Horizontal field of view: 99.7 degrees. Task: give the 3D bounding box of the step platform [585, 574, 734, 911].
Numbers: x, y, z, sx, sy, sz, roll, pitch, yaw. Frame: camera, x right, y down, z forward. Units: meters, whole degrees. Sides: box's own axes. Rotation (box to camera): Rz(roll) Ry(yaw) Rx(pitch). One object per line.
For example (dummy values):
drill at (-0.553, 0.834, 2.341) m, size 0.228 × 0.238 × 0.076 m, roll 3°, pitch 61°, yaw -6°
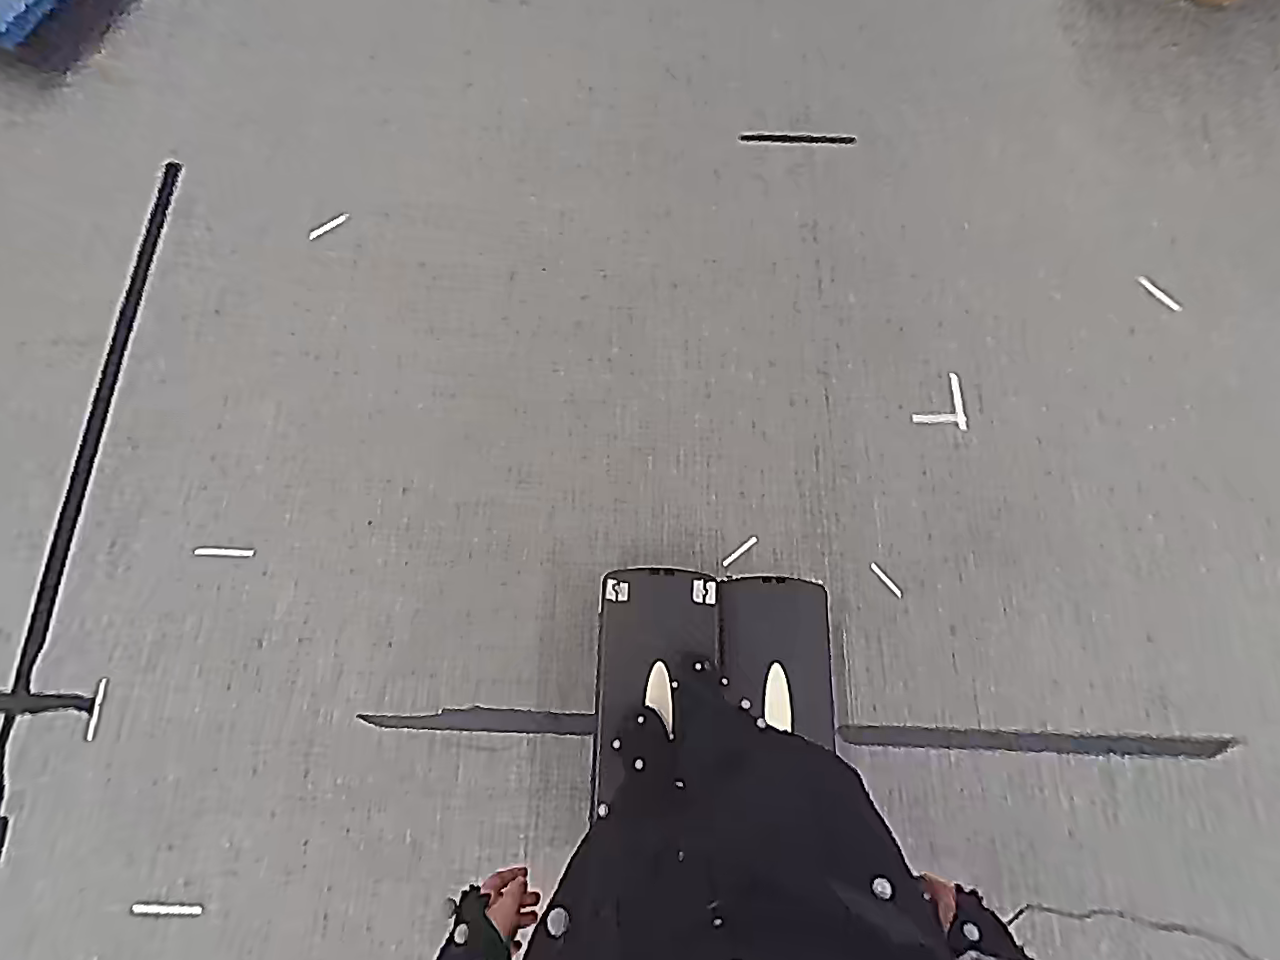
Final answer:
step platform at (0.053, 0.563, 1.249) m, size 0.286 × 0.204 × 0.684 m, roll 6°, pitch 72°, yaw 0°
